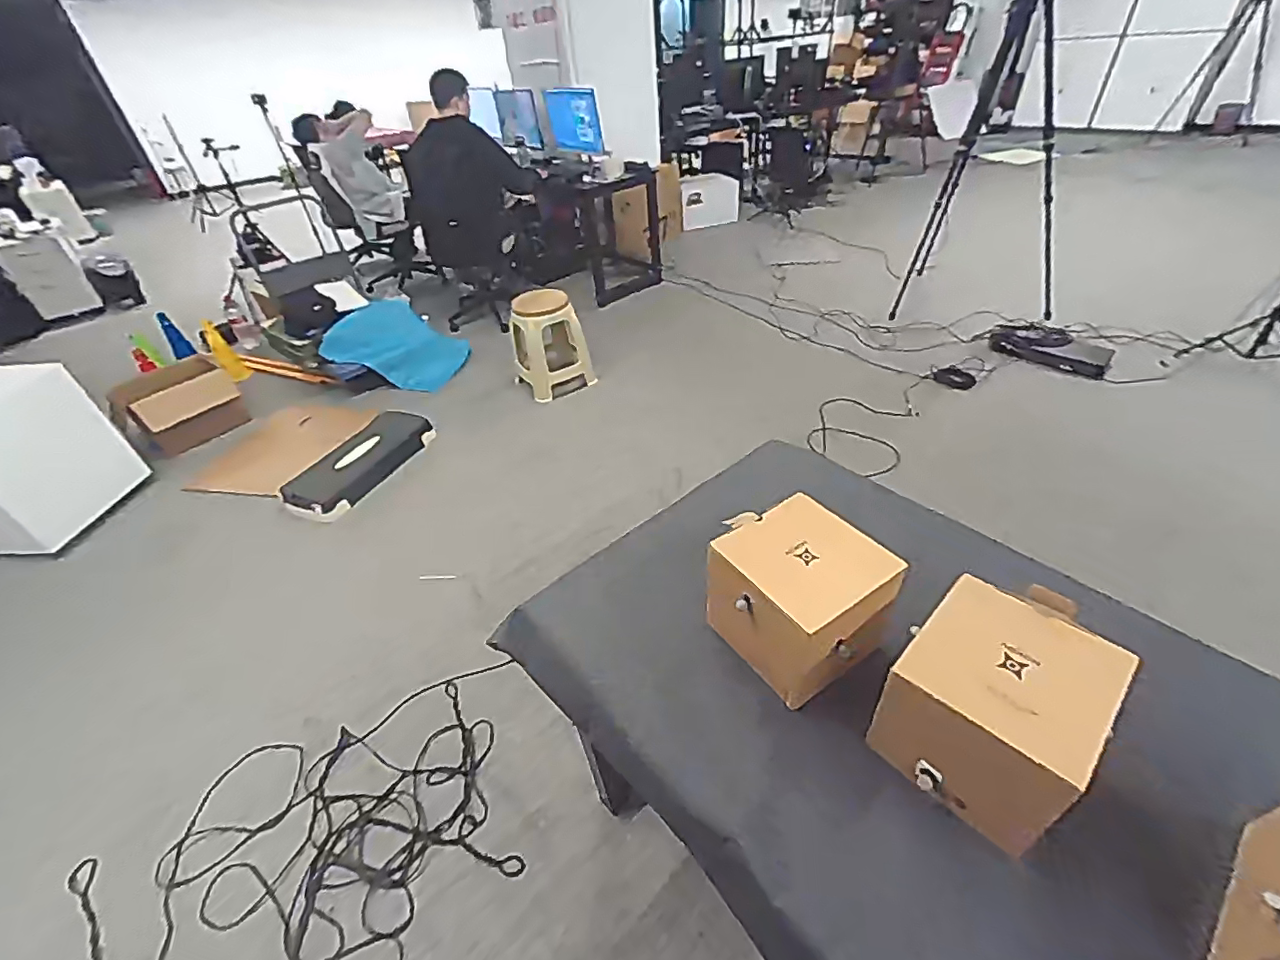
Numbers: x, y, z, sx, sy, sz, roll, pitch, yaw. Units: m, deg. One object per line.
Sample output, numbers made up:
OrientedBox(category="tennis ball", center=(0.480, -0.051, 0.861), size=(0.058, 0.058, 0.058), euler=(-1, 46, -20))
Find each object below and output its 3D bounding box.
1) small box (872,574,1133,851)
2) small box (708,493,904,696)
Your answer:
OrientedBox(category="small box", center=(0.374, 0.243, 0.583), size=(0.179, 0.176, 0.168), euler=(-34, 45, -31))
OrientedBox(category="small box", center=(0.207, 0.154, 0.714), size=(0.168, 0.176, 0.179), euler=(-25, 42, -23))
